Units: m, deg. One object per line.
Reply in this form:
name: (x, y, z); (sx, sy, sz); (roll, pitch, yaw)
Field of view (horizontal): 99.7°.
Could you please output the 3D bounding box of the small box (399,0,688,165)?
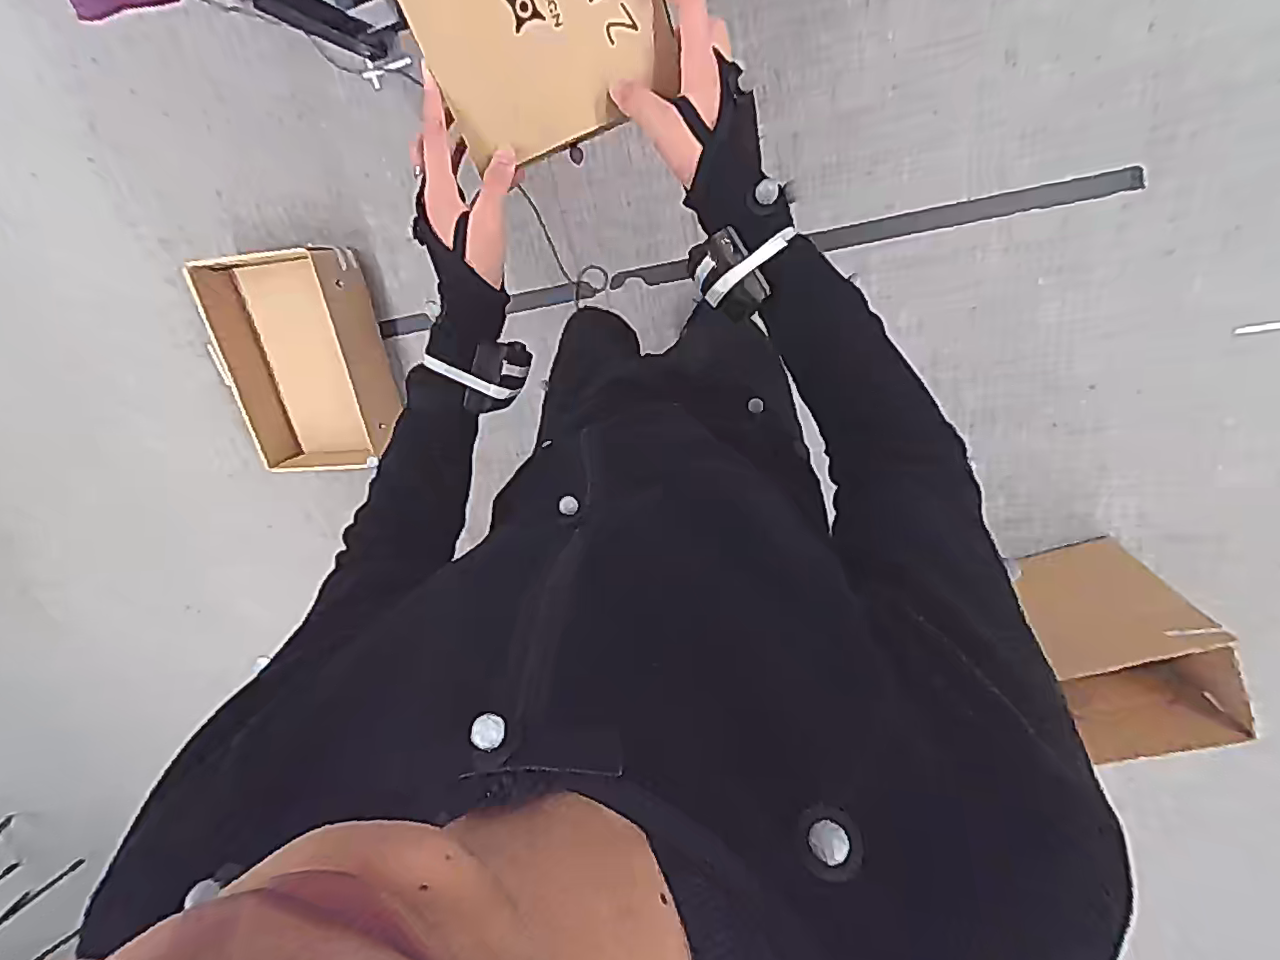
small box: (-0.078, -0.372, 0.433); (0.179, 0.176, 0.168); (-21, 121, 6)
